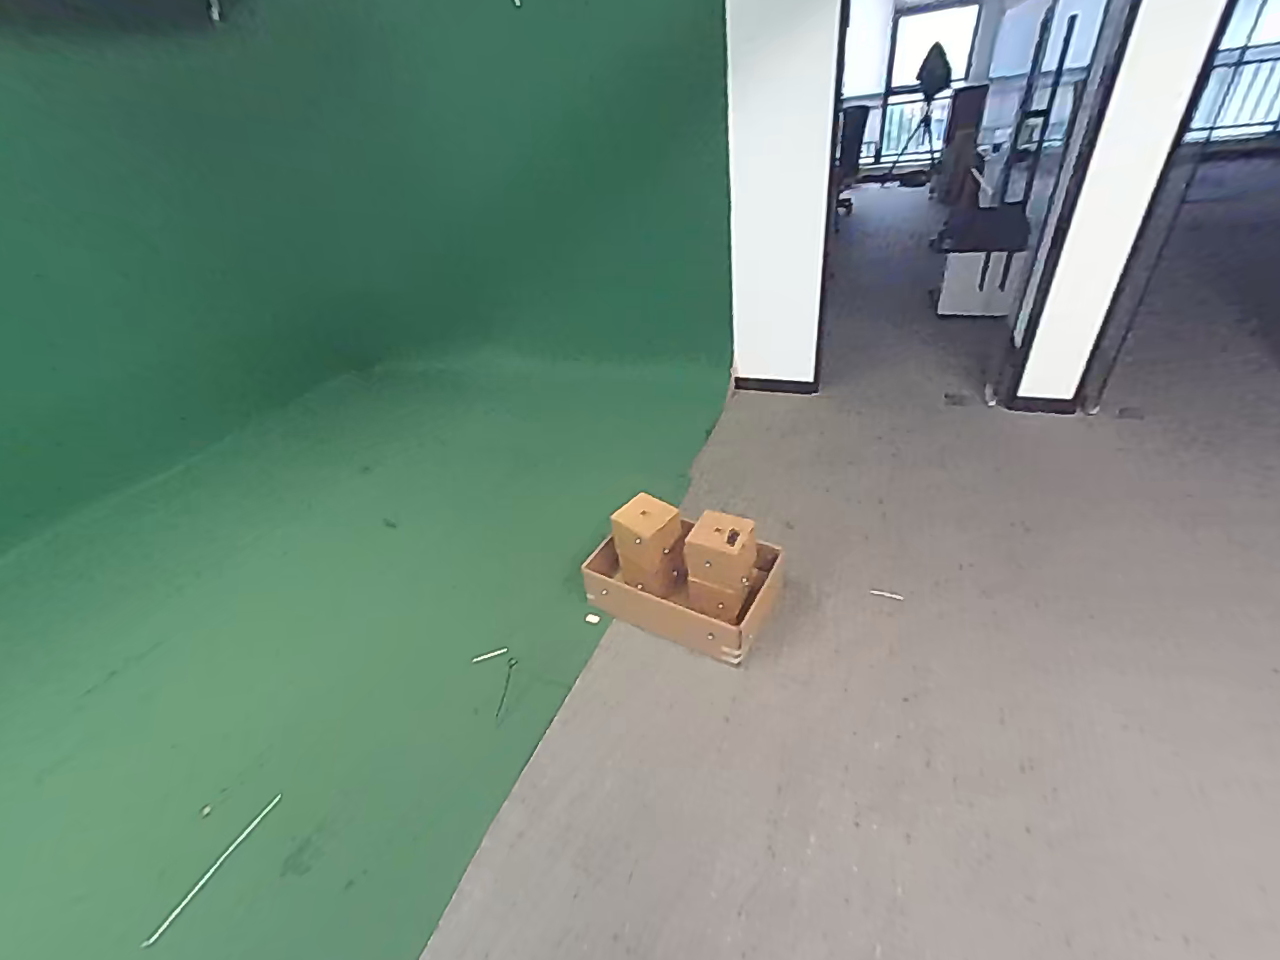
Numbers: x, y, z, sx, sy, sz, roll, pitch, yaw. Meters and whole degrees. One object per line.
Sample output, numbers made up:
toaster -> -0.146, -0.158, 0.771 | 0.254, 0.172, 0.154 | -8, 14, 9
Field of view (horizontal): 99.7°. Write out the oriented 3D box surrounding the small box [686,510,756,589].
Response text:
small box -> 0.267, 0.227, 1.744 | 0.179, 0.176, 0.168 | 13, 41, 29

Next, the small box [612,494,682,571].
small box -> 0.027, 0.182, 1.861 | 0.179, 0.176, 0.168 | 25, 48, 35
